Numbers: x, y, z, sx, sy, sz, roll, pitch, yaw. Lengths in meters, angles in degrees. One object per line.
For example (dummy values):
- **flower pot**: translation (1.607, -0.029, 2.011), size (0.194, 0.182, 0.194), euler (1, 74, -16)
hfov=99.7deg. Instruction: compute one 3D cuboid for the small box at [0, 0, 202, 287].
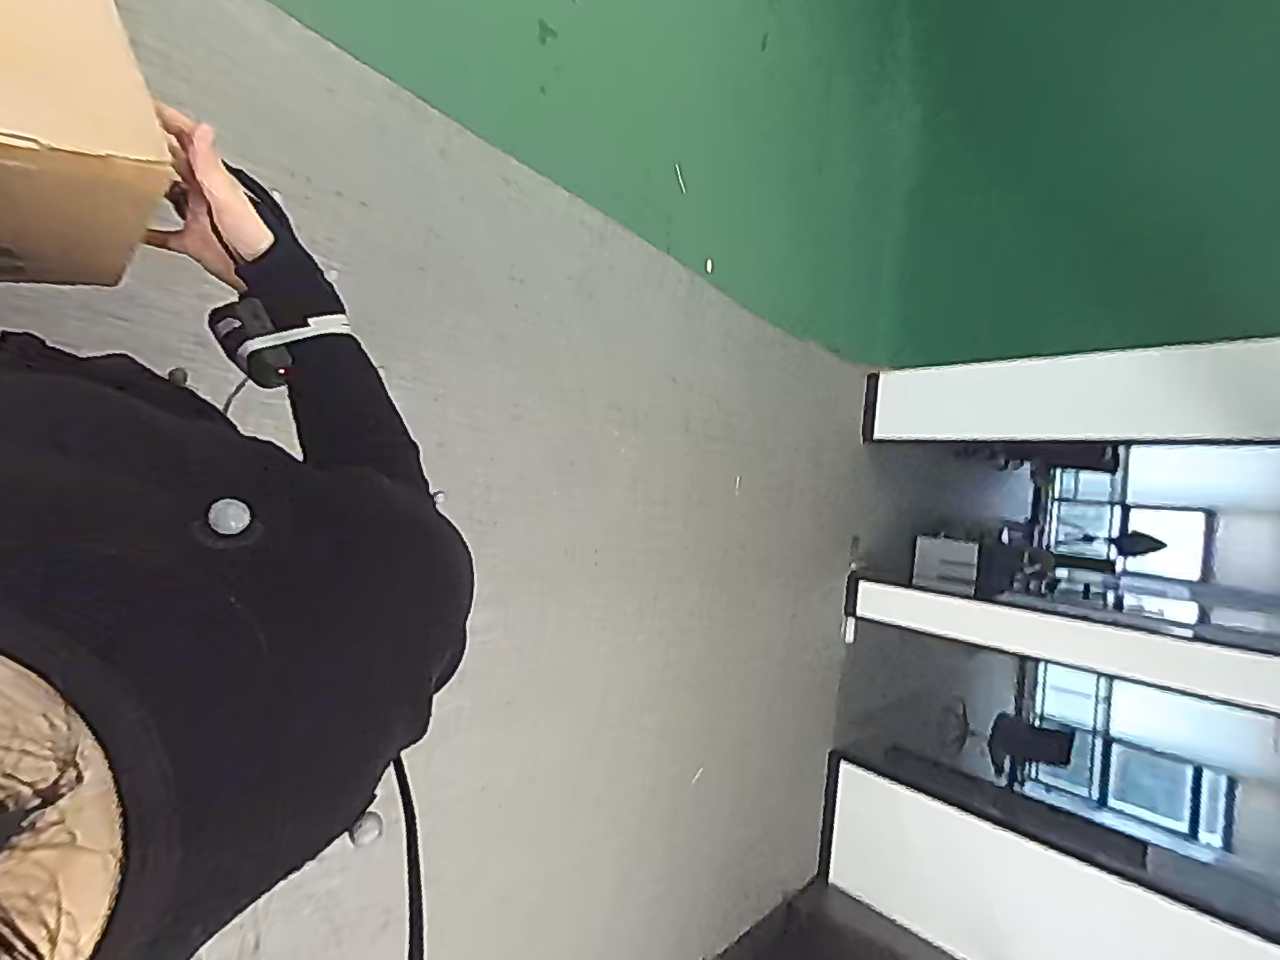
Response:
- **small box**: translation (-0.410, -0.238, 0.313), size (0.168, 0.176, 0.179), euler (-24, 96, -57)
